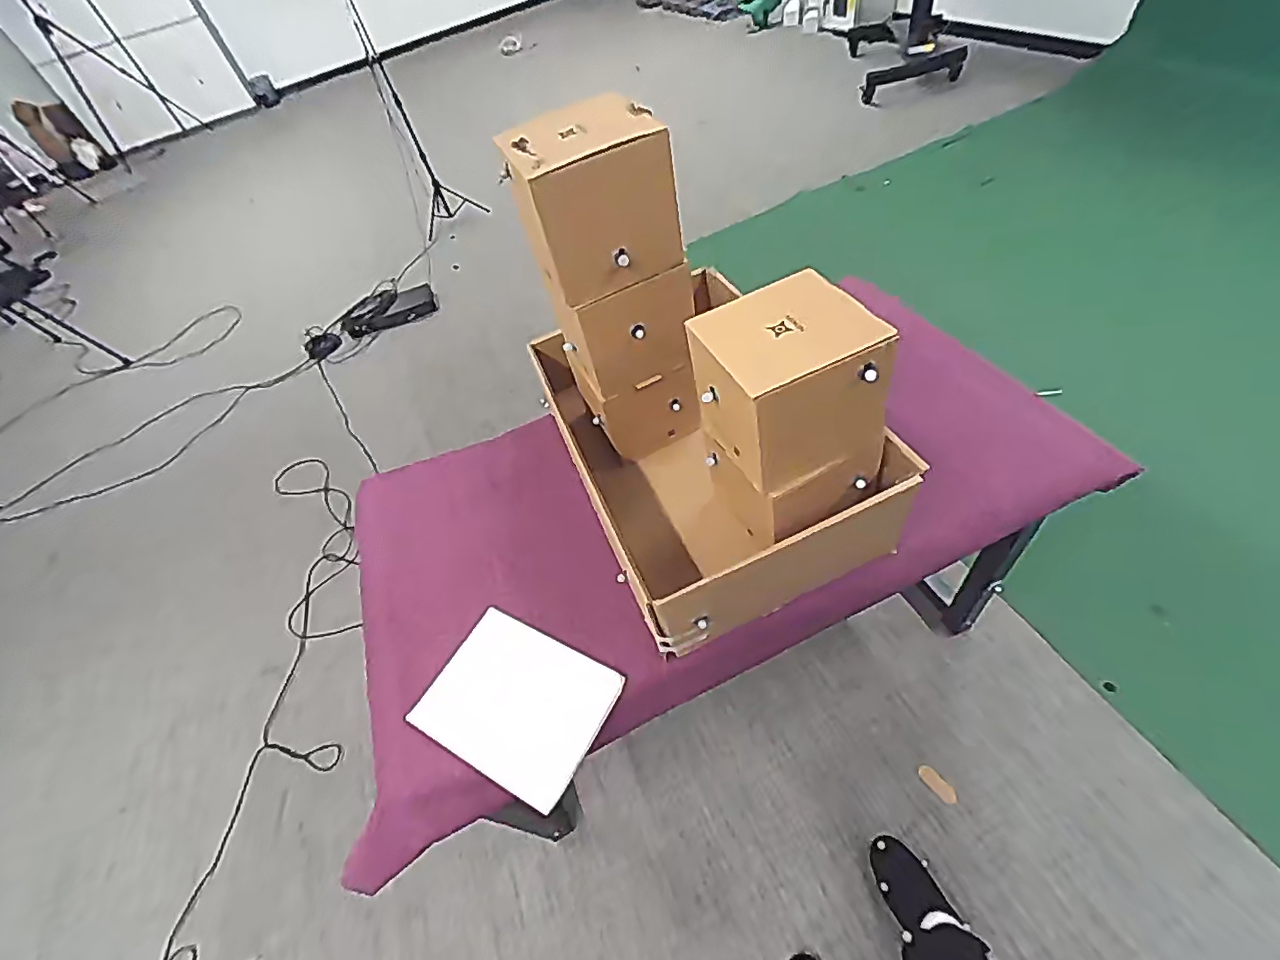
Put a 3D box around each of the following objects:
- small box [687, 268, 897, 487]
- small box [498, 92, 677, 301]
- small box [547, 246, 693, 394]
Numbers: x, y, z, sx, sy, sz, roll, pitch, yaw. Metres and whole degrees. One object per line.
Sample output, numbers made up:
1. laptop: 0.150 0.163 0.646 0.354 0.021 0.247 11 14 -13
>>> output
1. small box: 0.178 -0.121 0.661 0.179 0.176 0.168 -24 49 -6
2. small box: -0.060 -0.368 0.707 0.179 0.176 0.168 -24 51 -7
3. small box: -0.027 -0.267 0.833 0.179 0.176 0.168 -26 52 -8
